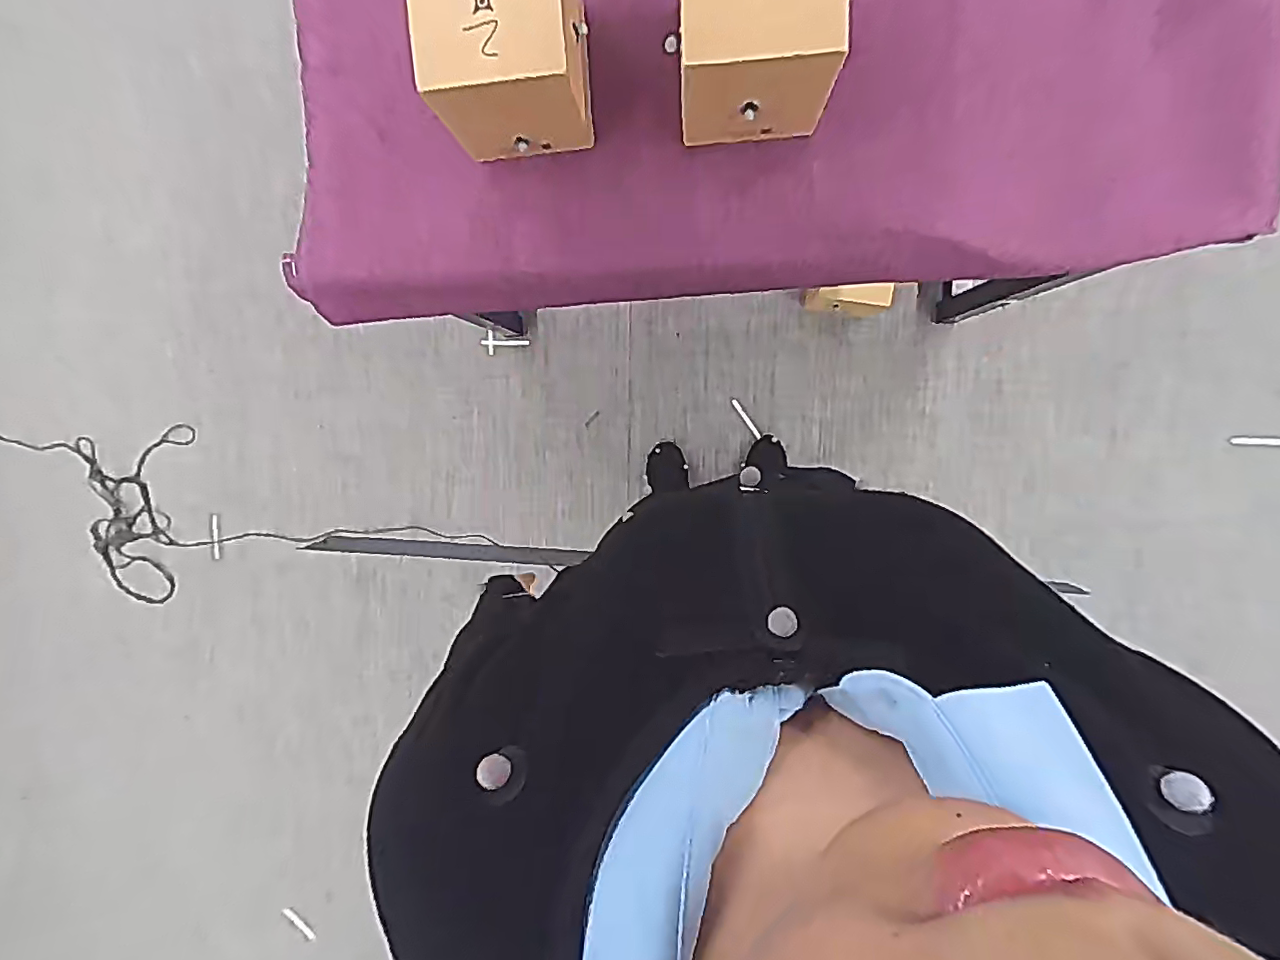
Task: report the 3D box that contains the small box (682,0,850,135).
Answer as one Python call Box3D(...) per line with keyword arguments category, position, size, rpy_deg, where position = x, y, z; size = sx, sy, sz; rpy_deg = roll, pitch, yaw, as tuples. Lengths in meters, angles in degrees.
Box3D(category="small box", position=(0.132, -0.518, 0.612), size=(0.168, 0.176, 0.179), rpy_deg=(-1, 96, 5))

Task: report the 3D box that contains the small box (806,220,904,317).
Box3D(category="small box", position=(0.513, -0.506, 1.318), size=(0.168, 0.176, 0.179), rpy_deg=(10, 97, 5))
